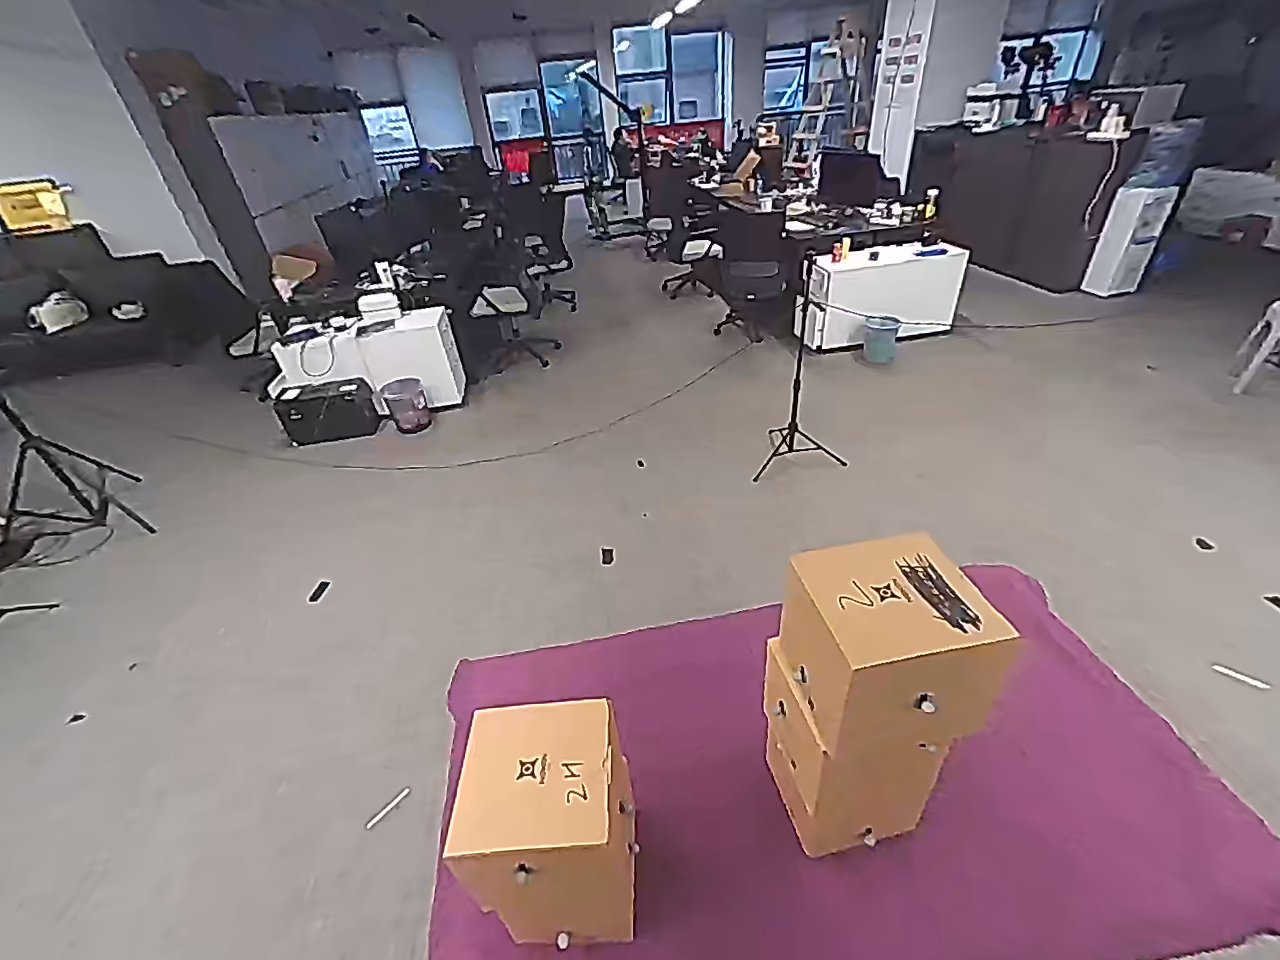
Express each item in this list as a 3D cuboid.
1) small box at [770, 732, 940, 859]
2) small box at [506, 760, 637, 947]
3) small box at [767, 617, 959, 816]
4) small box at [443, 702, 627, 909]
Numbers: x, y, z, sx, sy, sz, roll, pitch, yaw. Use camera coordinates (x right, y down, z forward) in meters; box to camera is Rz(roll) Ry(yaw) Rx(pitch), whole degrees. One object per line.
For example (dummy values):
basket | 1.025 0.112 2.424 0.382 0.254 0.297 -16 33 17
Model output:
small box | 0.313 0.441 0.830 0.179 0.176 0.168 -10 34 -7
small box | -0.094 0.526 0.768 0.168 0.176 0.179 -4 36 3
small box | 0.281 0.316 0.726 0.179 0.176 0.168 -10 35 -7
small box | -0.112 0.399 0.663 0.179 0.176 0.168 -5 36 1
